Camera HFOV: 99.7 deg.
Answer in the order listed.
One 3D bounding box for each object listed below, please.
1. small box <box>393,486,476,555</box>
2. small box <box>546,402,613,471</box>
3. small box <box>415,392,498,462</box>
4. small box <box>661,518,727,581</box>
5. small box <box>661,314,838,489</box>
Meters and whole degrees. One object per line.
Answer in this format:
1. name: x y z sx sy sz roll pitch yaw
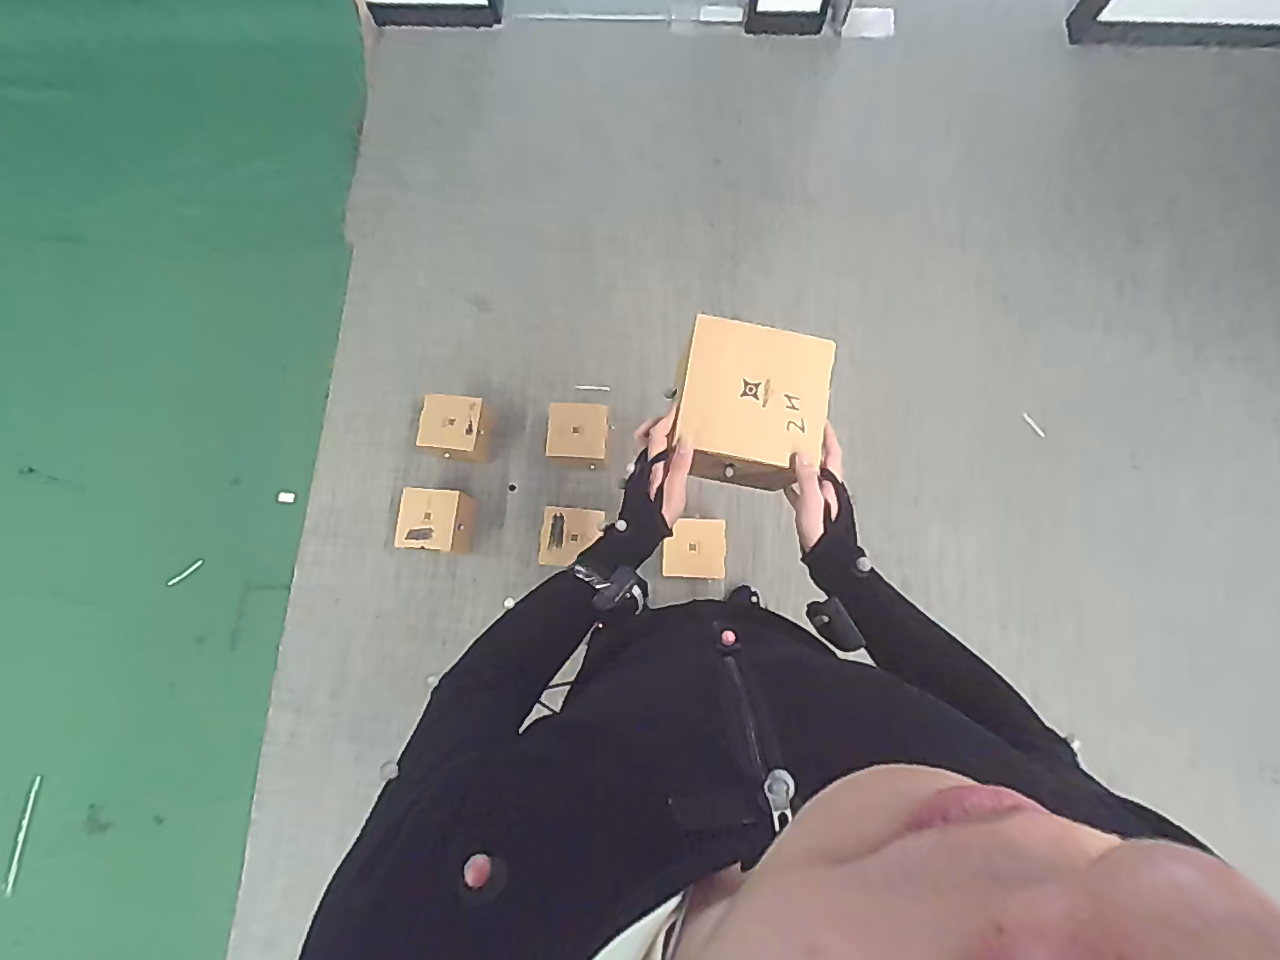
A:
1. small box: -0.599 0.124 1.597 0.168 0.176 0.179 5 78 2
2. small box: -0.177 -0.127 1.641 0.179 0.176 0.168 4 78 2
3. small box: -0.553 -0.156 1.653 0.179 0.176 0.168 6 79 3
4. small box: 0.153 0.207 1.571 0.179 0.176 0.168 3 79 0
5. small box: 0.130 -0.089 0.704 0.179 0.176 0.168 11 82 -2
